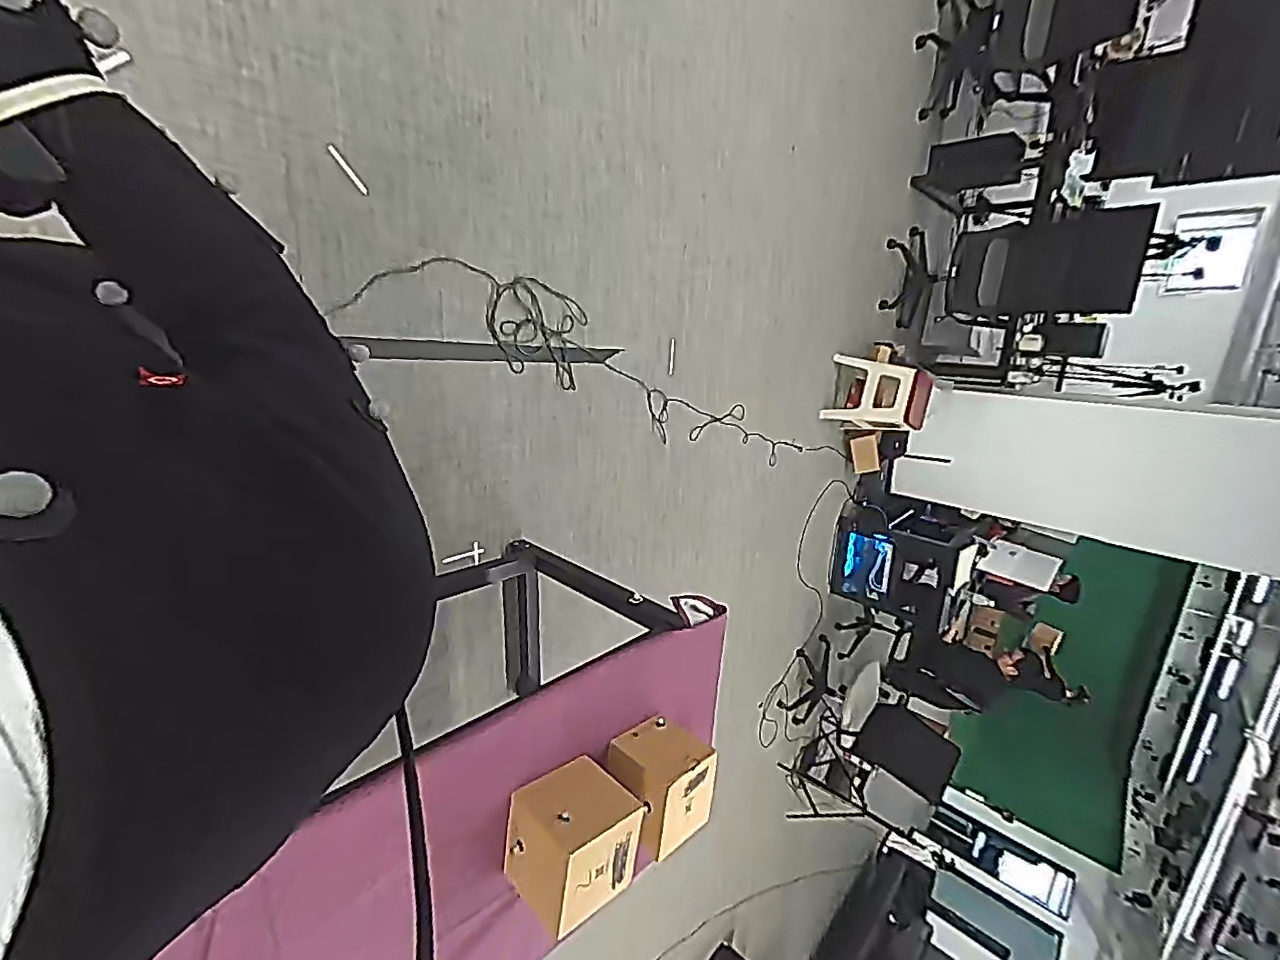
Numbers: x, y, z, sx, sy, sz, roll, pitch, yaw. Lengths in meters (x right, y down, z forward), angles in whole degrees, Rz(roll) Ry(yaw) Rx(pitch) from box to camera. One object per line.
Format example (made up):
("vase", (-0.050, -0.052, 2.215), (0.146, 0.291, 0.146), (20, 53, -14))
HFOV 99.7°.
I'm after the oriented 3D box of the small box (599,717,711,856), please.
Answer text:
("small box", (0.029, 0.636, 1.155), (0.168, 0.176, 0.179), (-4, 105, -47))
